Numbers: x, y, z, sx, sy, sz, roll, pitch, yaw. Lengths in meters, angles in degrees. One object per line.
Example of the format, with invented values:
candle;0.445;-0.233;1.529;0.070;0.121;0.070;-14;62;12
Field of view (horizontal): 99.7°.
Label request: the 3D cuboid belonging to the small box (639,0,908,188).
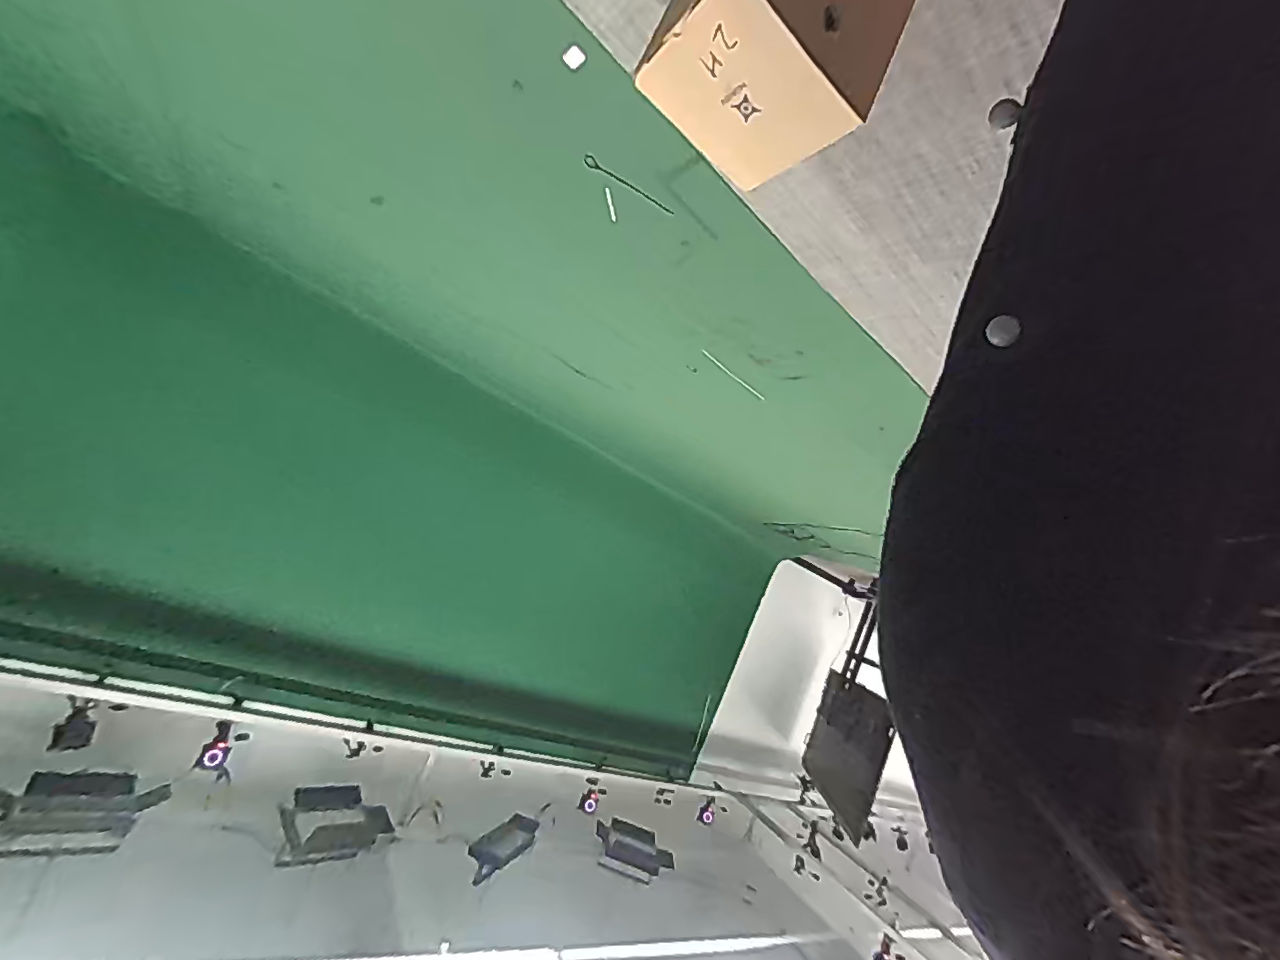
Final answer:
small box;0.136;-0.449;0.547;0.179;0.176;0.168;29;170;-29
